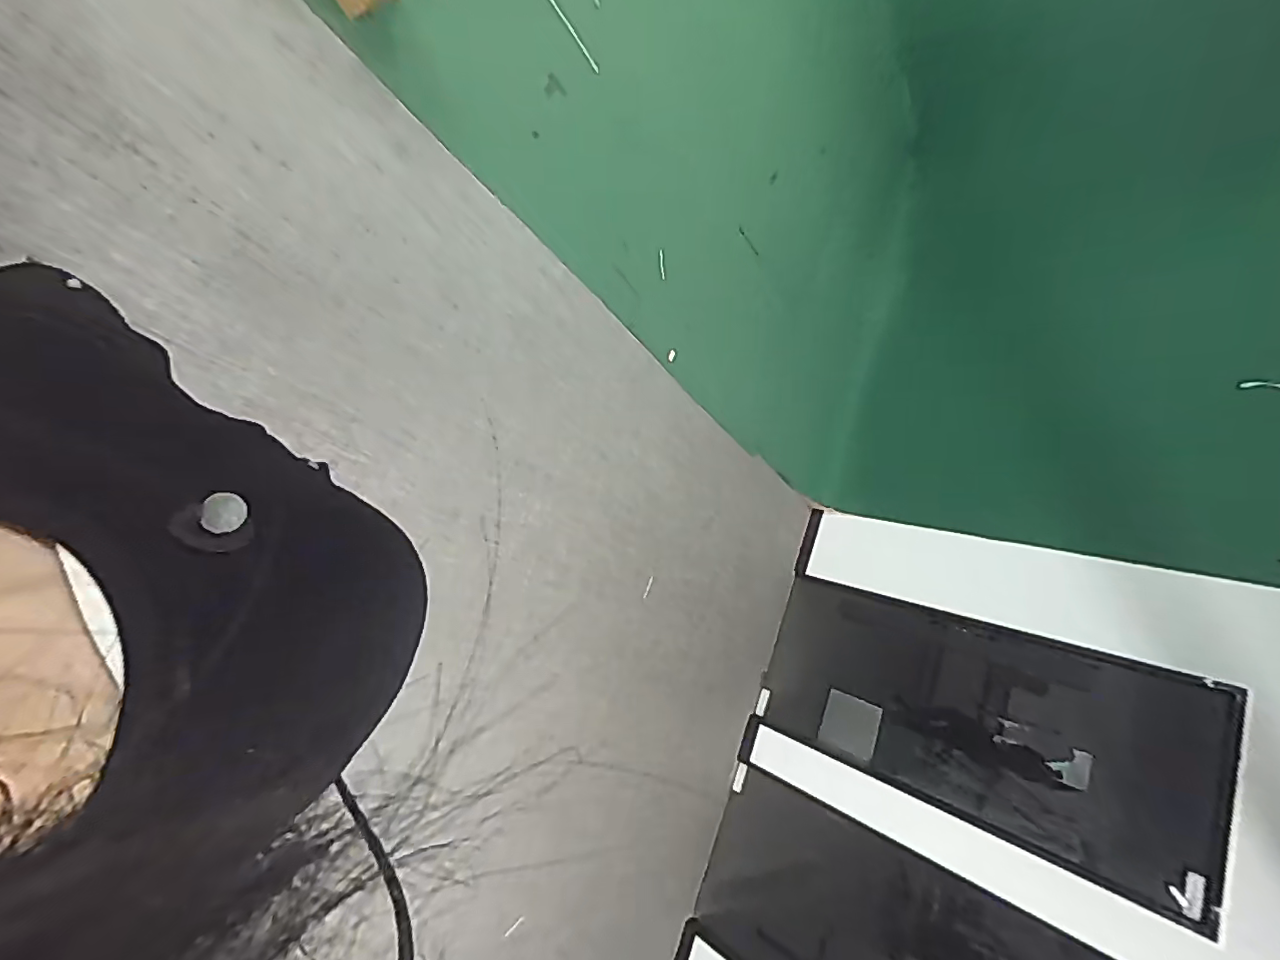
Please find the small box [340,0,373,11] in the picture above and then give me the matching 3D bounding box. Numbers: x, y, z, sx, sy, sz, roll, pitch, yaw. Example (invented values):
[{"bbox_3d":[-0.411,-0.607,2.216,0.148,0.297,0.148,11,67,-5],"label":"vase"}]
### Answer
[{"bbox_3d":[-0.630,-1.212,1.217,0.179,0.176,0.168,-57,135,-24],"label":"small box"}]
